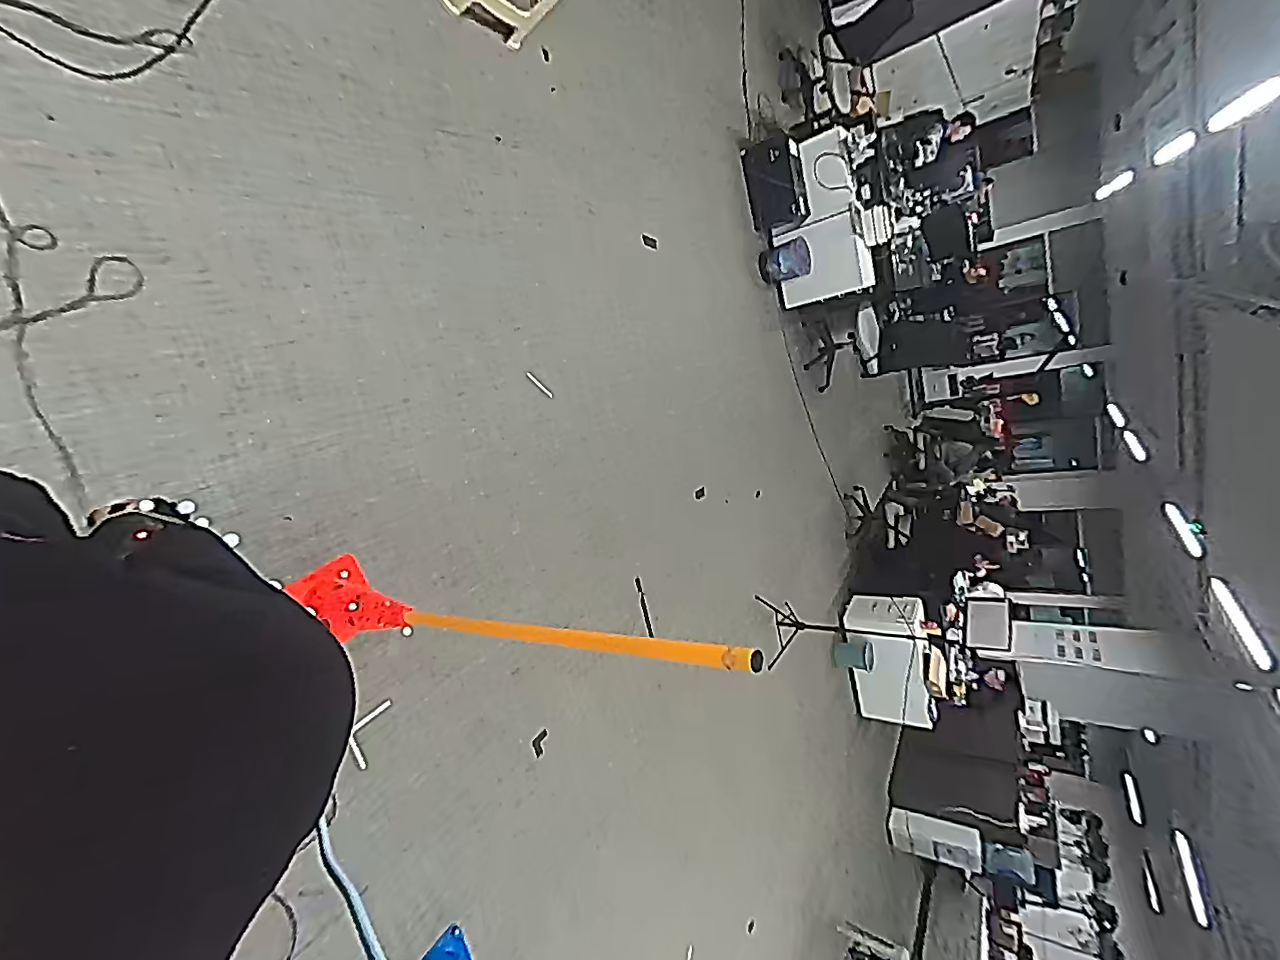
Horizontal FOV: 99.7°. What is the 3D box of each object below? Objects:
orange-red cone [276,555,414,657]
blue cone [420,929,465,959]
[{"bbox_3d":[-0.631,0.298,1.240,0.199,0.360,0.198,-37,115,-48],"label":"orange-red cone"},{"bbox_3d":[-0.438,1.381,1.399,0.193,0.380,0.192,-27,107,-52],"label":"blue cone"}]
